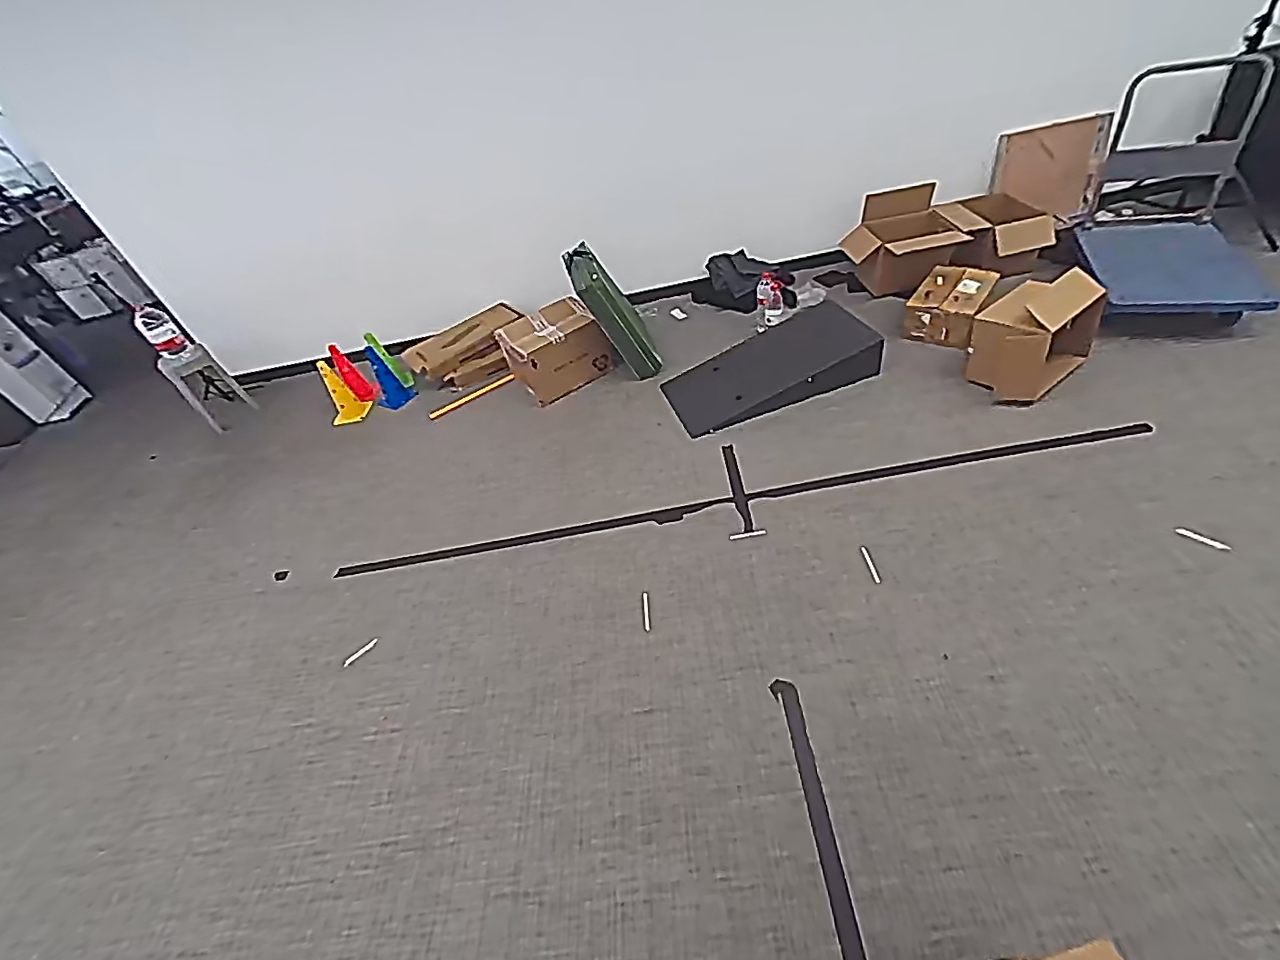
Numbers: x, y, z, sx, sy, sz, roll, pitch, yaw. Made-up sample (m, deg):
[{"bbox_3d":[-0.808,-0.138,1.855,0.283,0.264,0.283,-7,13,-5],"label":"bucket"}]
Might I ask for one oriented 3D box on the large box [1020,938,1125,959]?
[{"bbox_3d":[0.632,0.952,0.759,0.320,0.320,0.408,-22,43,3],"label":"large box"}]
